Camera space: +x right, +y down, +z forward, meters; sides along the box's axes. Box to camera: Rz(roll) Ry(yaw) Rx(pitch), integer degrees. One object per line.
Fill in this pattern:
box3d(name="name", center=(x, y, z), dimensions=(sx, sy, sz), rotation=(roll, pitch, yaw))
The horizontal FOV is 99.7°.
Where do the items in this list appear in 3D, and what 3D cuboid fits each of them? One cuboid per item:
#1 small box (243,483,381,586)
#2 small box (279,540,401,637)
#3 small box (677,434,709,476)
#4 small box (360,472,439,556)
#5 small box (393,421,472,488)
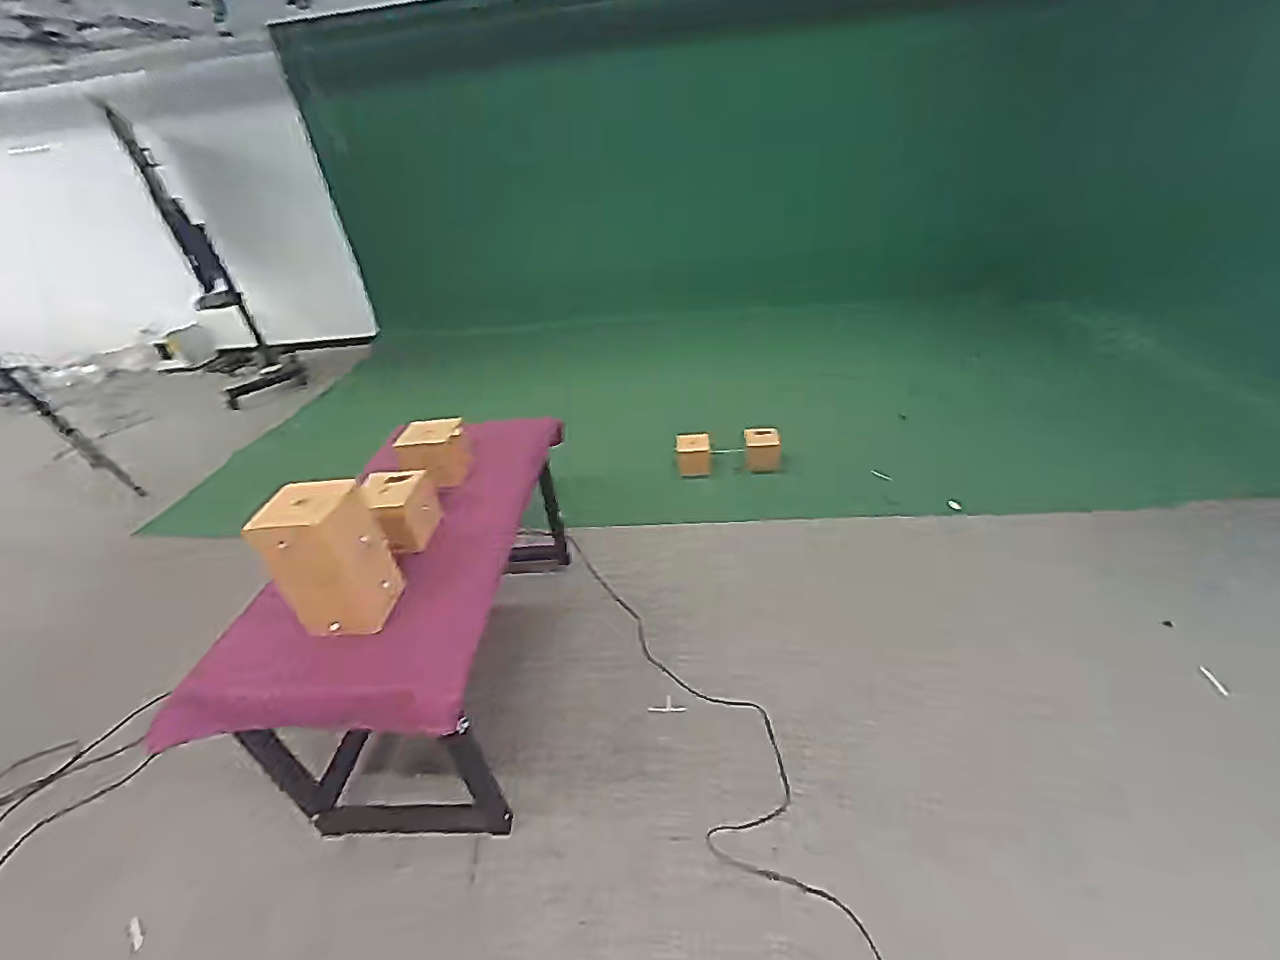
box3d(name="small box", center=(-0.724, 0.124, 1.215), dimensions=(0.179, 0.176, 0.168), rotation=(-4, 35, 4))
box3d(name="small box", center=(-0.709, 0.262, 1.305), dimensions=(0.179, 0.176, 0.168), rotation=(-4, 33, 5))
box3d(name="small box", center=(0.295, -0.133, 2.996), dimensions=(0.168, 0.176, 0.179), rotation=(-4, 33, 6))
box3d(name="small box", center=(-0.695, 0.098, 1.546), dimensions=(0.168, 0.176, 0.179), rotation=(-4, 35, 5))
box3d(name="small box", center=(-0.683, -0.082, 1.811), dimensions=(0.179, 0.176, 0.168), rotation=(-4, 34, 6))
